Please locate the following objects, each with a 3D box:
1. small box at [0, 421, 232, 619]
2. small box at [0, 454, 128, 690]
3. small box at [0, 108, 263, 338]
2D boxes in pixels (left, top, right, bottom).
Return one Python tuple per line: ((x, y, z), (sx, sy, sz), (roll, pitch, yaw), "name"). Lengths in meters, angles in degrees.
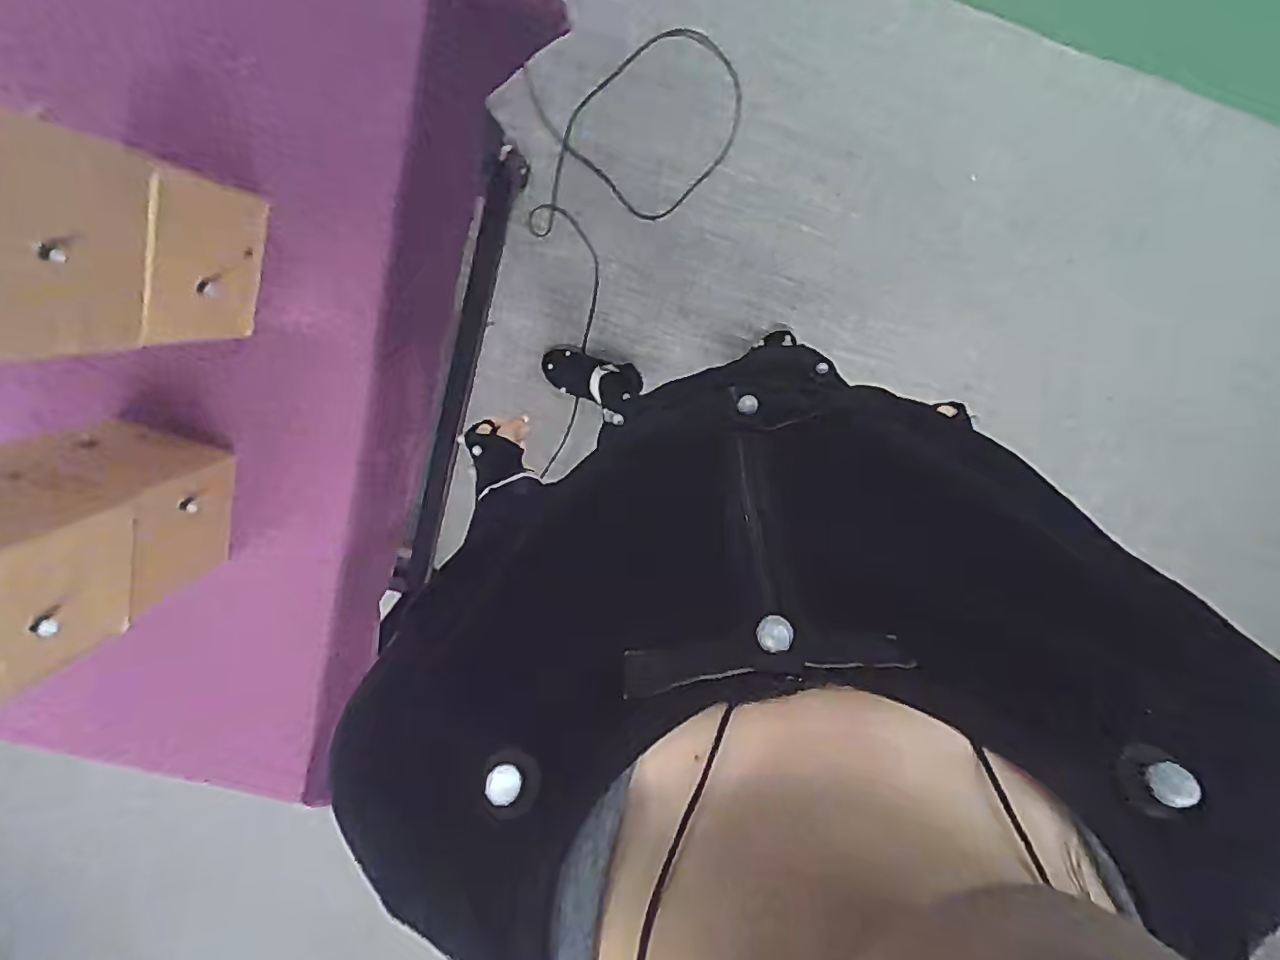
((-0.653, 0.038, 0.677), (0.168, 0.176, 0.179), (17, 107, -5), "small box")
((-0.651, 0.092, 0.521), (0.168, 0.176, 0.179), (17, 107, -6), "small box")
((-0.549, -0.266, 0.582), (0.179, 0.176, 0.168), (18, 107, -6), "small box")
